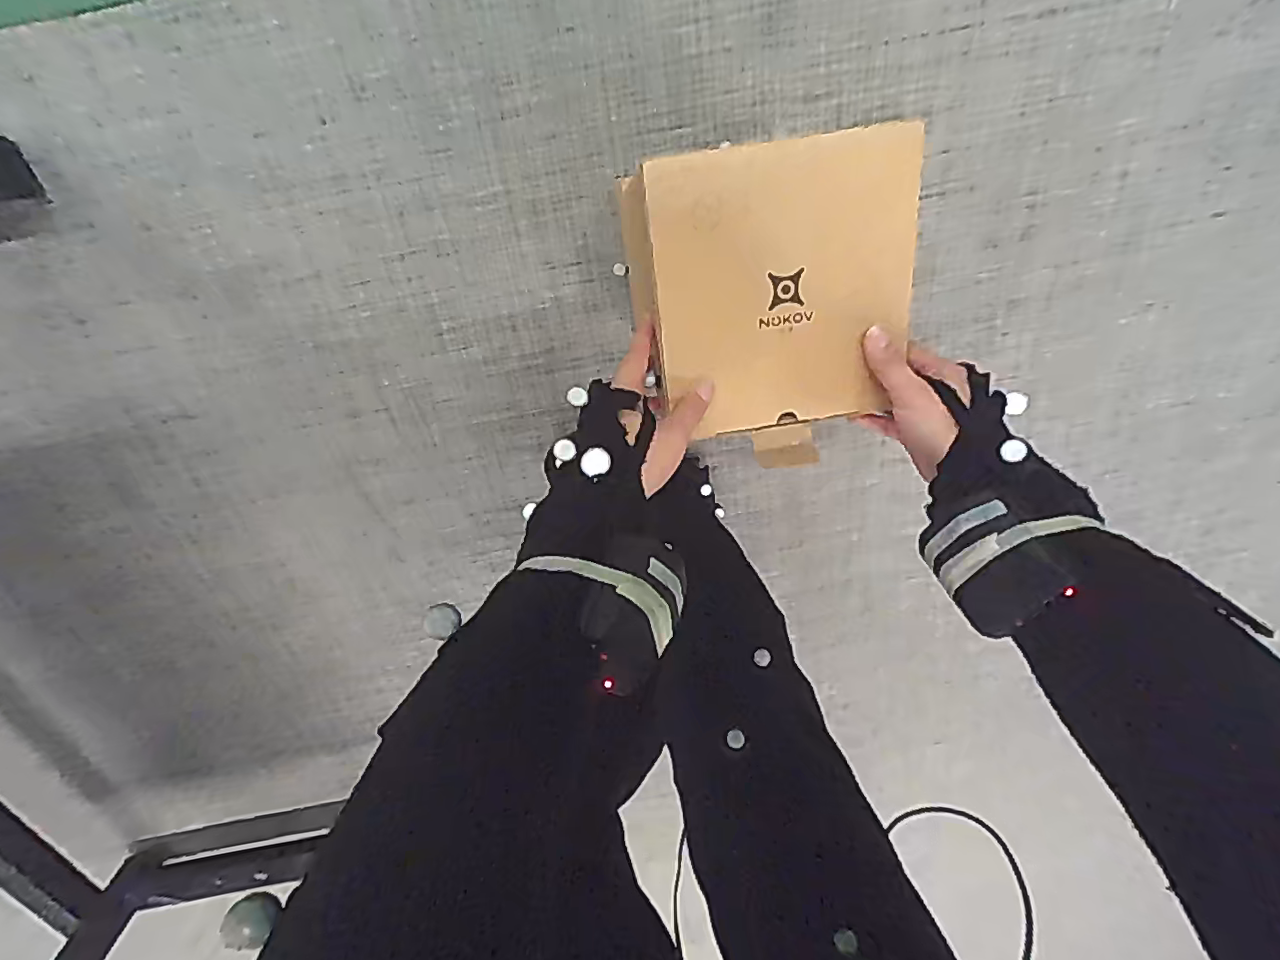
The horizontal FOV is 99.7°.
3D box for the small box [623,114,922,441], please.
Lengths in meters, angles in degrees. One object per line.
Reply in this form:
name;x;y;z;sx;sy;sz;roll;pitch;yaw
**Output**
small box;0.082;-0.148;0.408;0.168;0.176;0.179;-9;115;-2
